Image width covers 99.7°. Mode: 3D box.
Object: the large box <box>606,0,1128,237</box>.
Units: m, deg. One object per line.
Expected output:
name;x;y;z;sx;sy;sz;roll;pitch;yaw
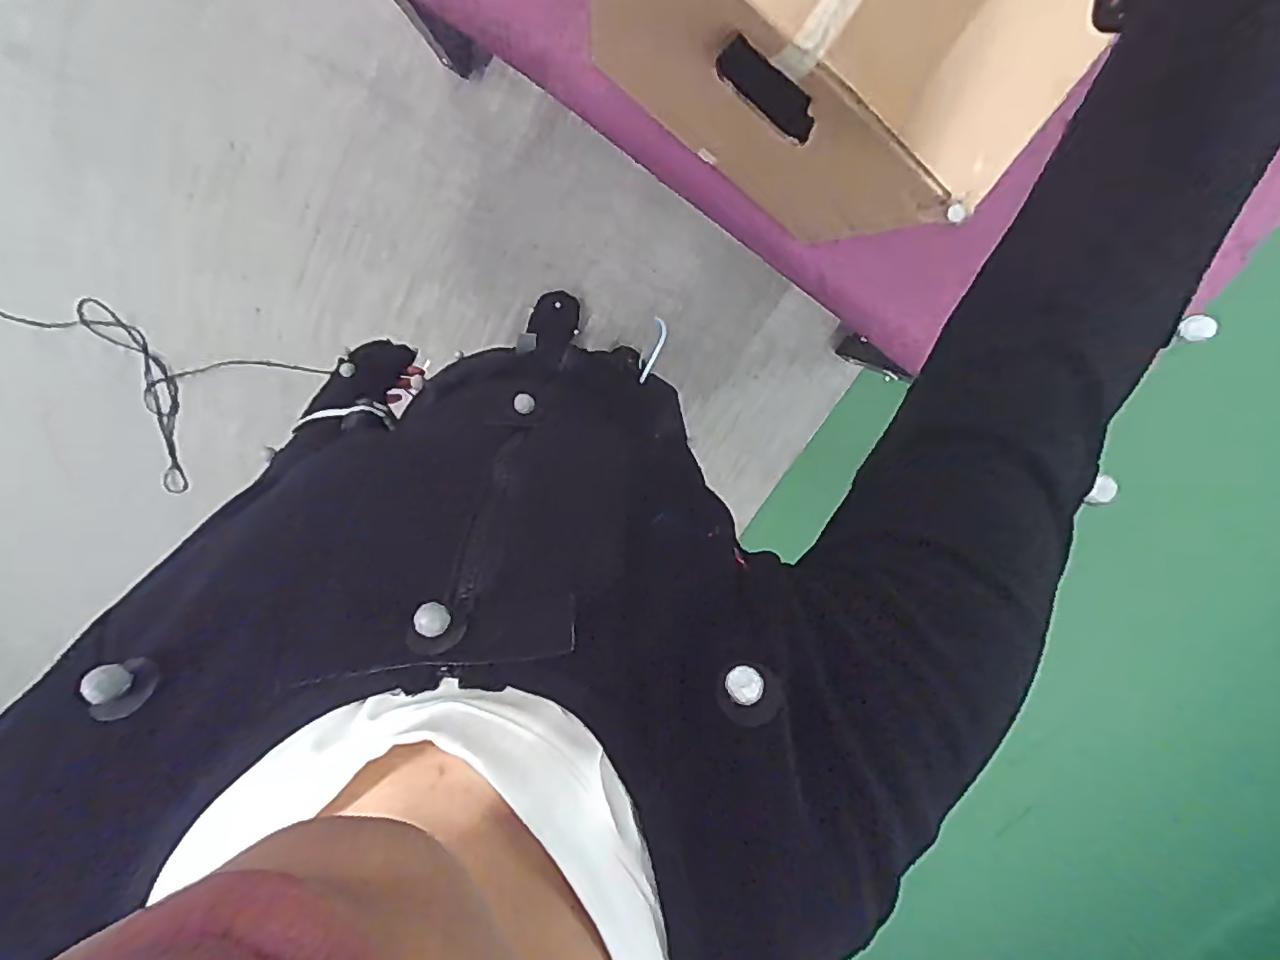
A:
large box;0.207;-0.476;0.445;0.320;0.320;0.408;33;105;-15
